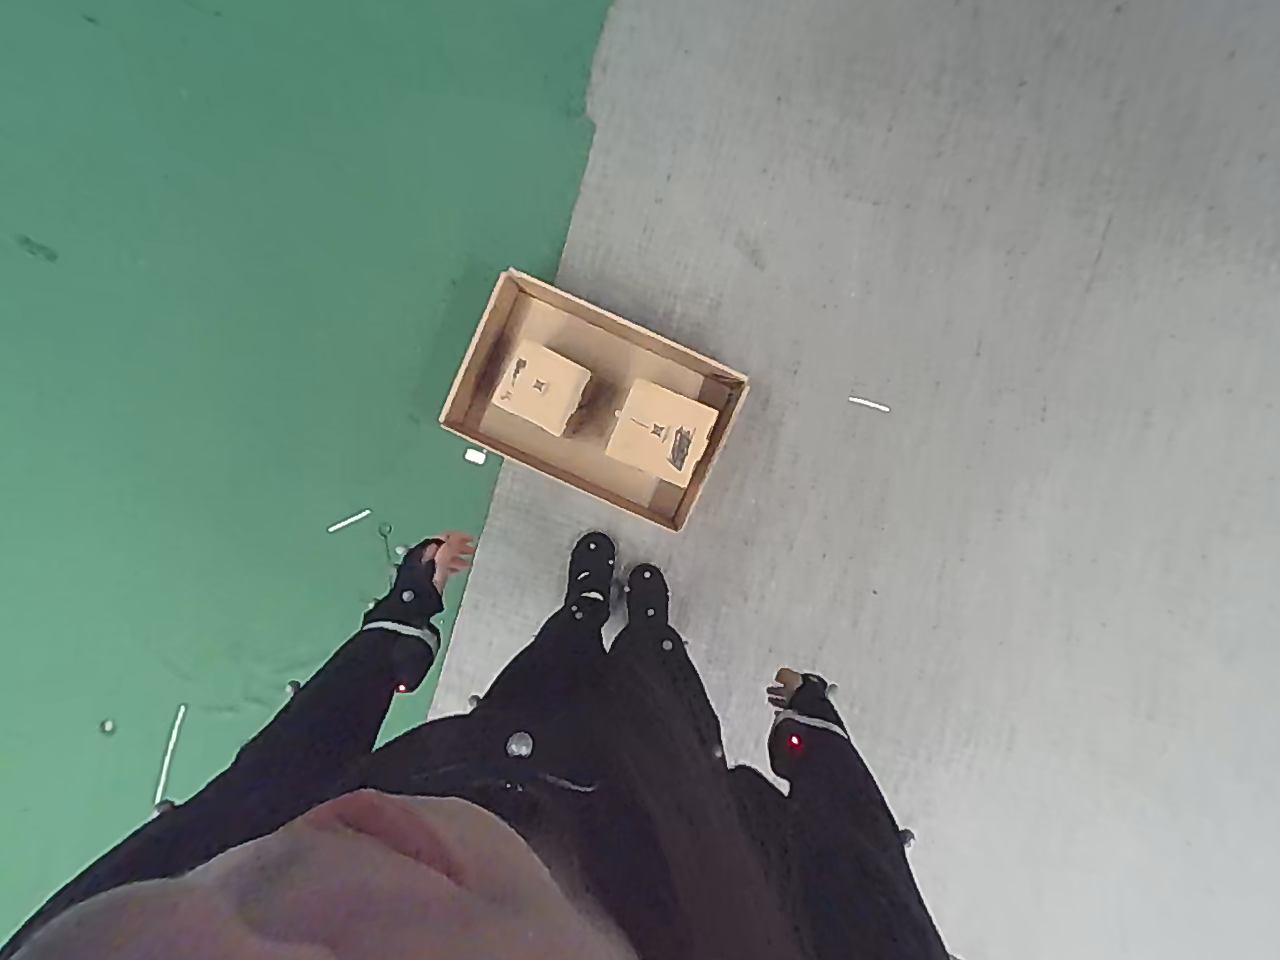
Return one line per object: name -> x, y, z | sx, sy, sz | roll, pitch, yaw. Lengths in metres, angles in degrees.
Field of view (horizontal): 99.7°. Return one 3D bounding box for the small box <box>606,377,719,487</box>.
small box -> 0.044, -0.100, 1.122 | 0.179, 0.176, 0.168 | 23, 94, -1
